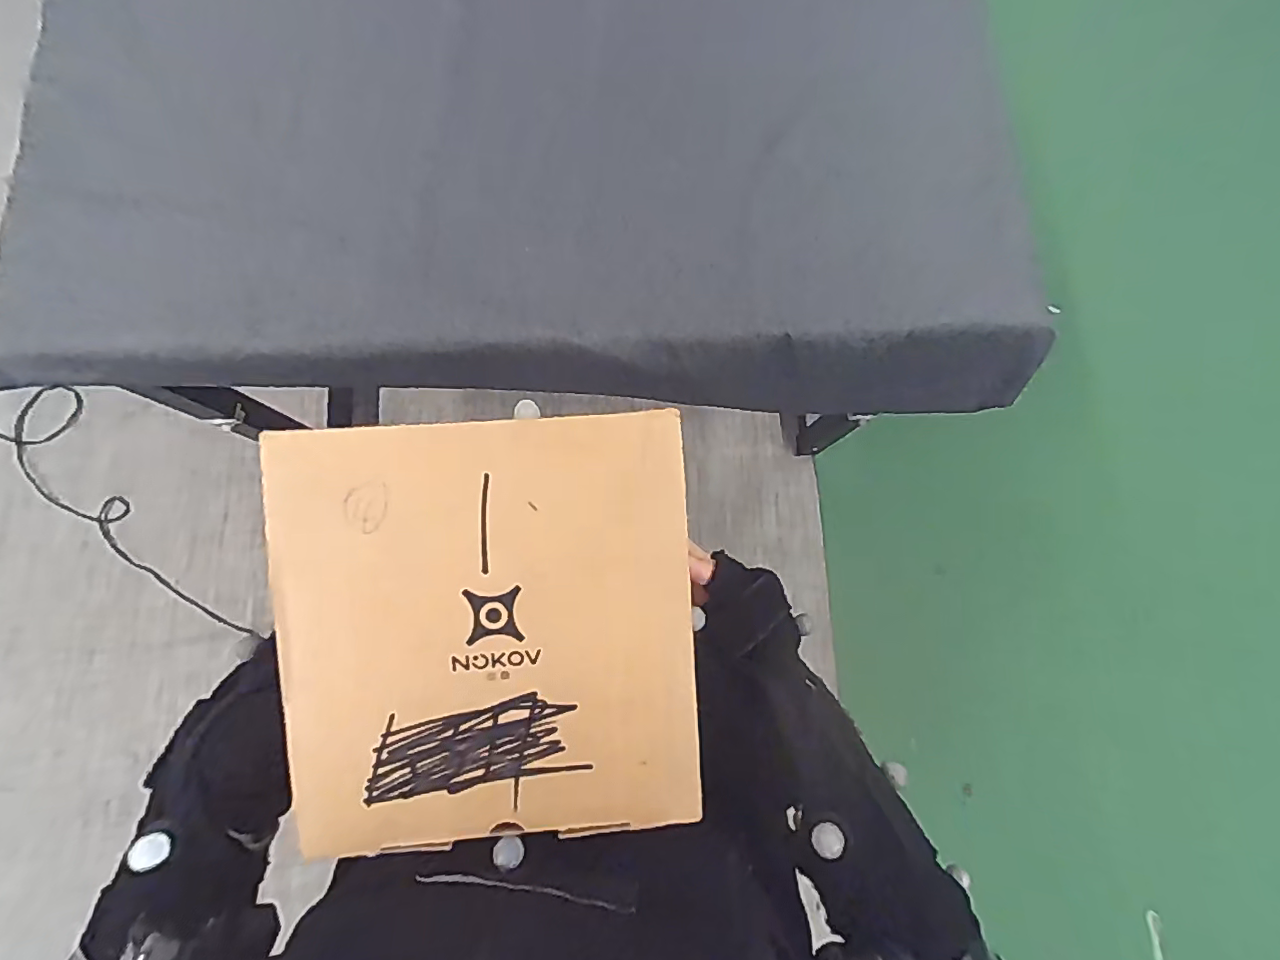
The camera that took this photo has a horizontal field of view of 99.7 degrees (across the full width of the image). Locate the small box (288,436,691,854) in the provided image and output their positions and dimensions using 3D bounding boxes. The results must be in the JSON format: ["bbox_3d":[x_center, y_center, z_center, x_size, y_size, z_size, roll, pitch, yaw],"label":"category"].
[{"bbox_3d":[-0.065,0.066,0.309,0.168,0.176,0.179,-2,92,-5],"label":"small box"}]
